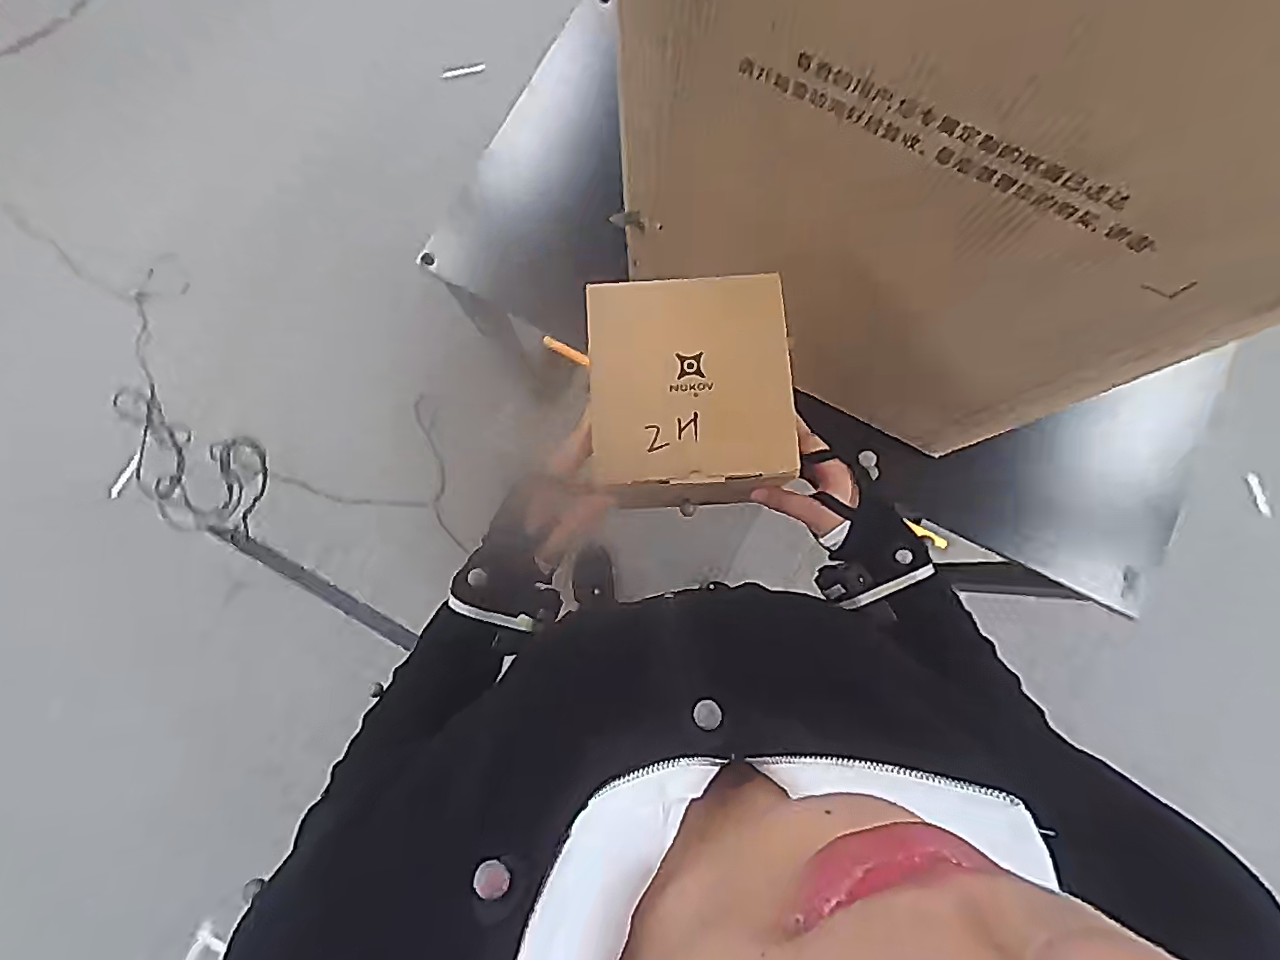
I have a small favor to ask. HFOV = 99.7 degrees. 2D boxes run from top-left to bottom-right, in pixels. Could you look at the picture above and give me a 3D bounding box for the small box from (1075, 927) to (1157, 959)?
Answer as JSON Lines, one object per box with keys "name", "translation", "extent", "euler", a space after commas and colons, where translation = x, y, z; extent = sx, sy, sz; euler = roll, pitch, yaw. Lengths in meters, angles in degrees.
{"name": "small box", "translation": [1.166, 1.204, 1.259], "extent": [0.179, 0.176, 0.168], "euler": [26, 81, 5]}
